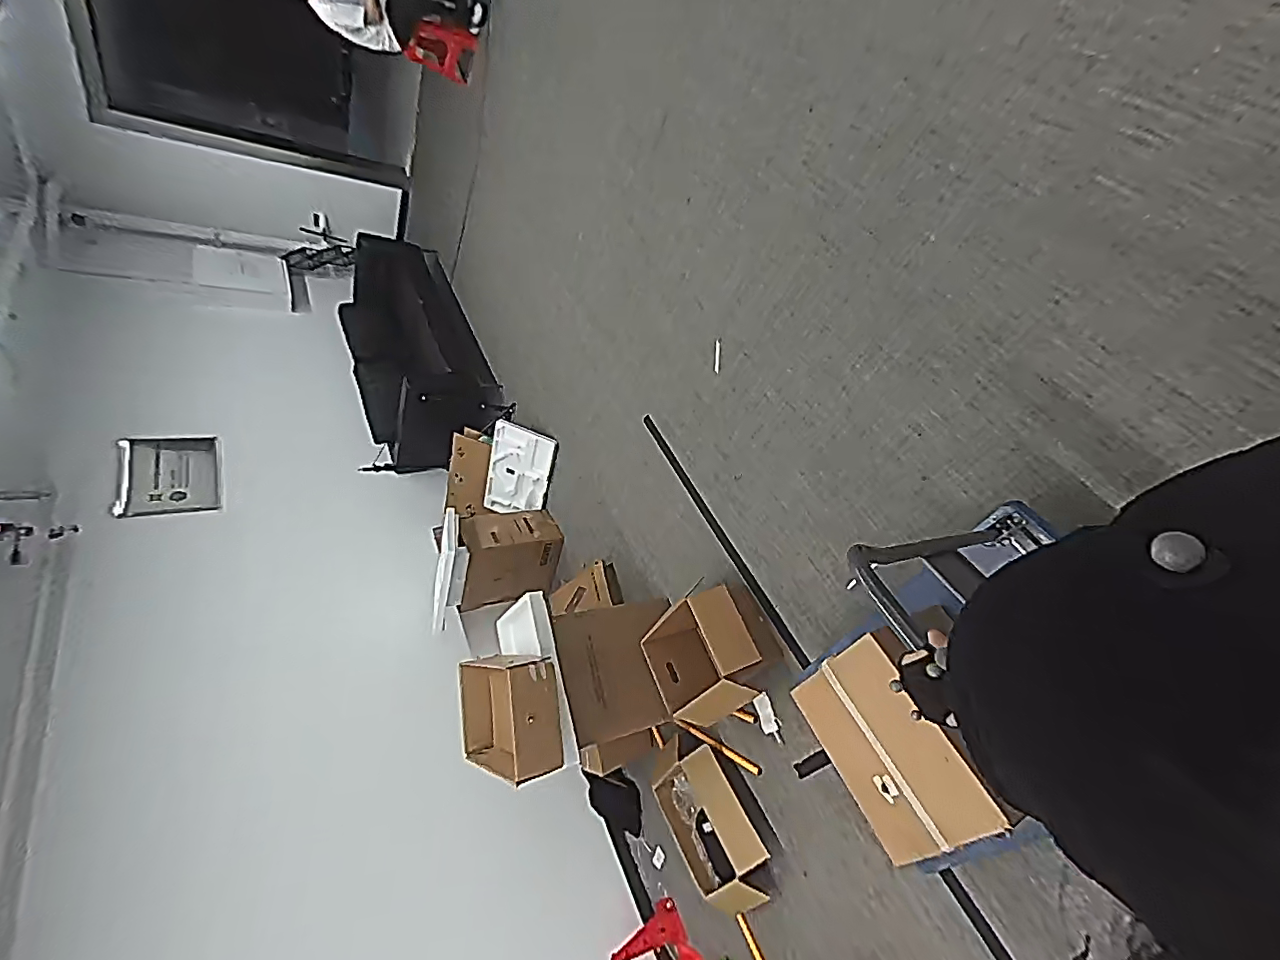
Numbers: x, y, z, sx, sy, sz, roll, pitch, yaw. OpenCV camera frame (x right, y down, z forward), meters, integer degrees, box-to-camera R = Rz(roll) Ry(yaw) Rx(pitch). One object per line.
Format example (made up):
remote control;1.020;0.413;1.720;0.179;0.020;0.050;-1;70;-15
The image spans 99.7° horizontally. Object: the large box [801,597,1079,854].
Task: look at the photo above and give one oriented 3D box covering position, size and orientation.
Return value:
large box;0.668;0.542;1.250;0.408;0.320;0.320;59;139;31
